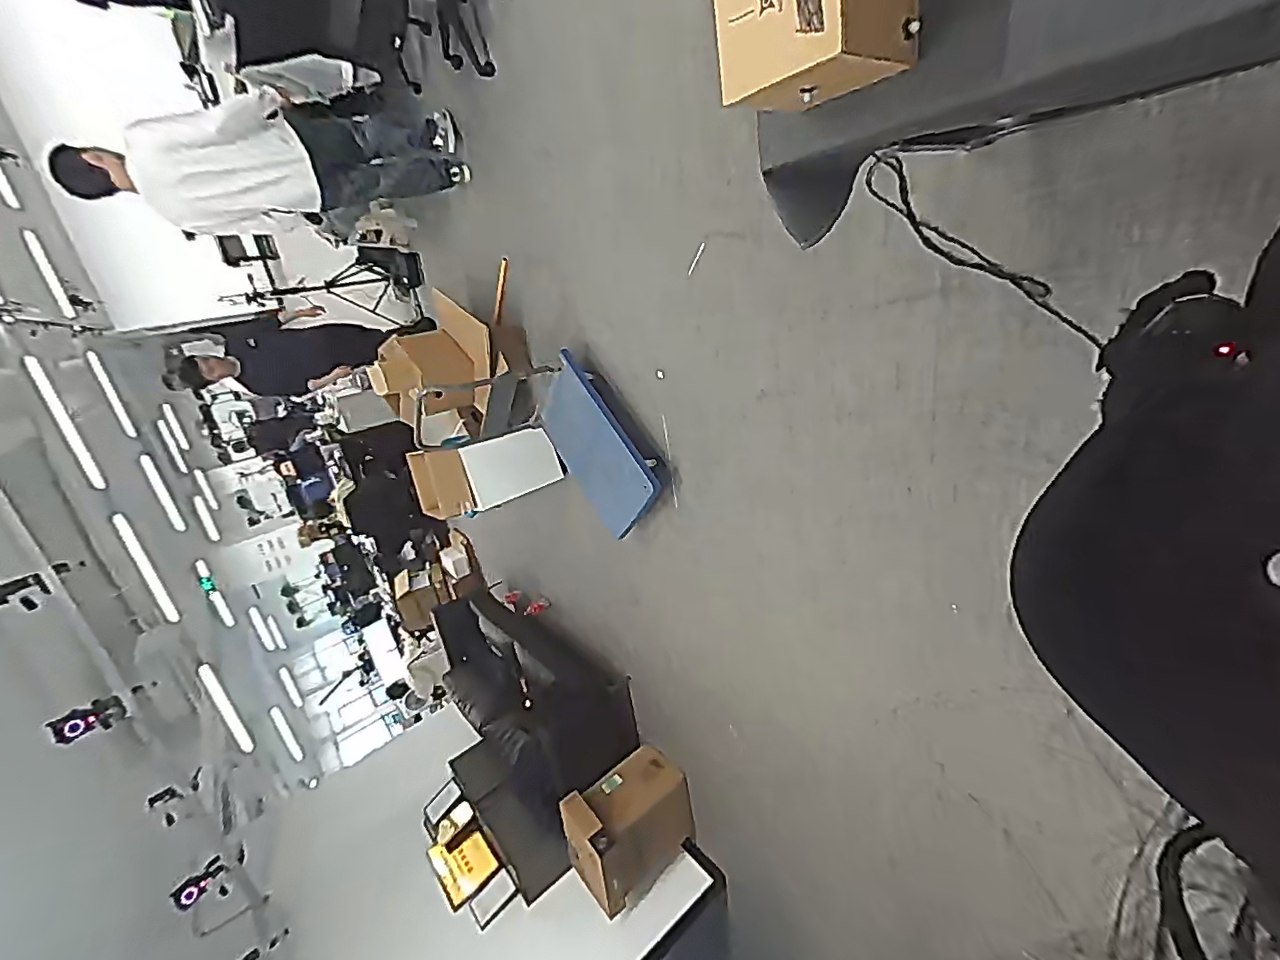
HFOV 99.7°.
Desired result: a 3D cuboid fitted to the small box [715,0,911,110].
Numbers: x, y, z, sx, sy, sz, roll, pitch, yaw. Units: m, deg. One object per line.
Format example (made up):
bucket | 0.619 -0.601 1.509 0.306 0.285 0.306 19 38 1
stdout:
small box | 0.215 -0.574 0.660 0.179 0.176 0.168 16 122 50
